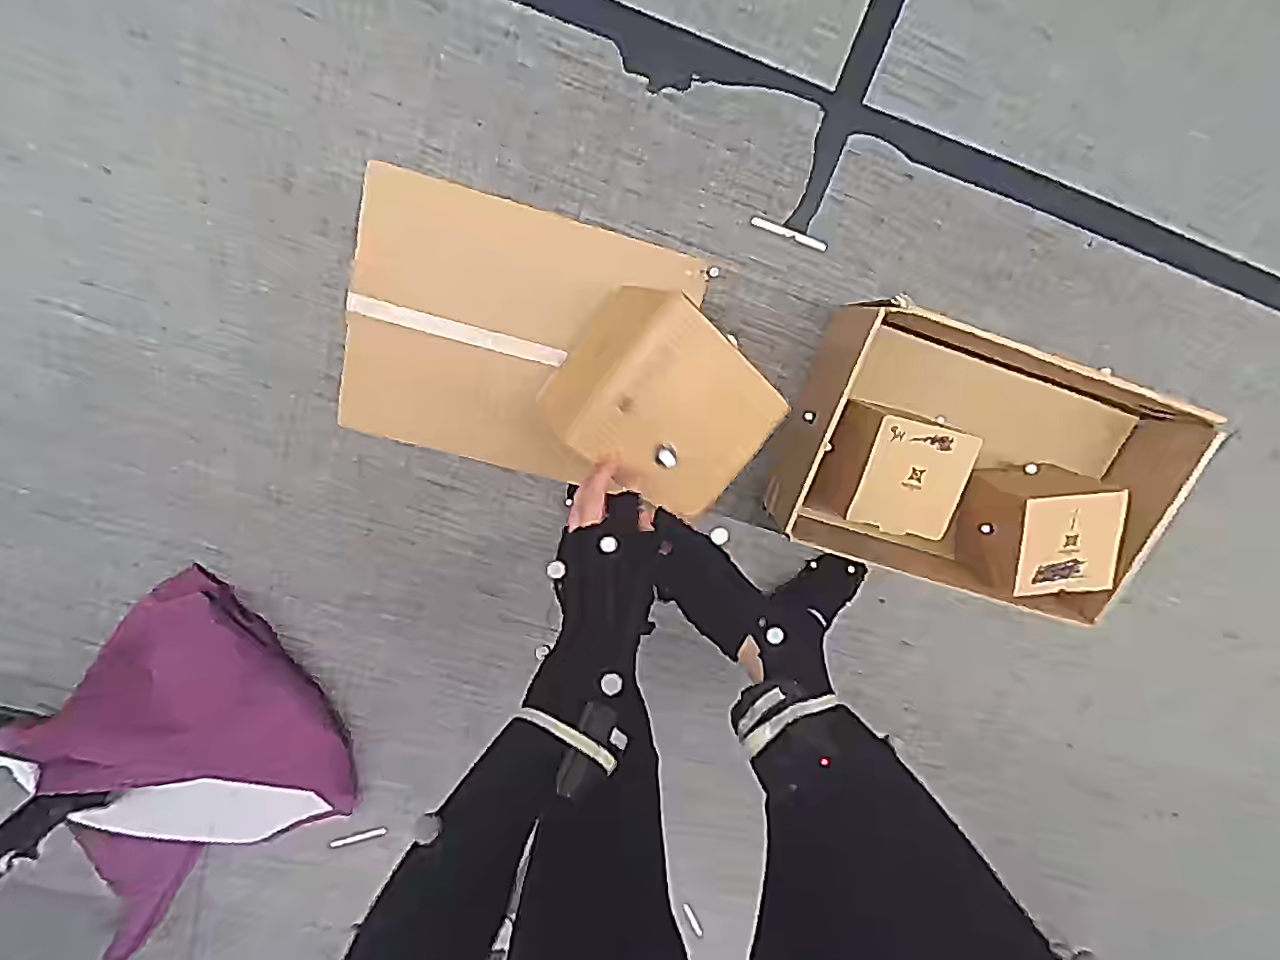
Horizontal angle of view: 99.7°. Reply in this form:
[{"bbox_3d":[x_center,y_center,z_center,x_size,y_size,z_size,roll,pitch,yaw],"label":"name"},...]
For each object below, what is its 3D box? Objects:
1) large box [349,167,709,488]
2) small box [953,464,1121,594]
[{"bbox_3d":[-0.153,-0.213,0.811,0.408,0.320,0.320,13,106,-7],"label":"large box"},{"bbox_3d":[0.685,0.081,0.956,0.168,0.176,0.179,-4,106,0],"label":"small box"}]
